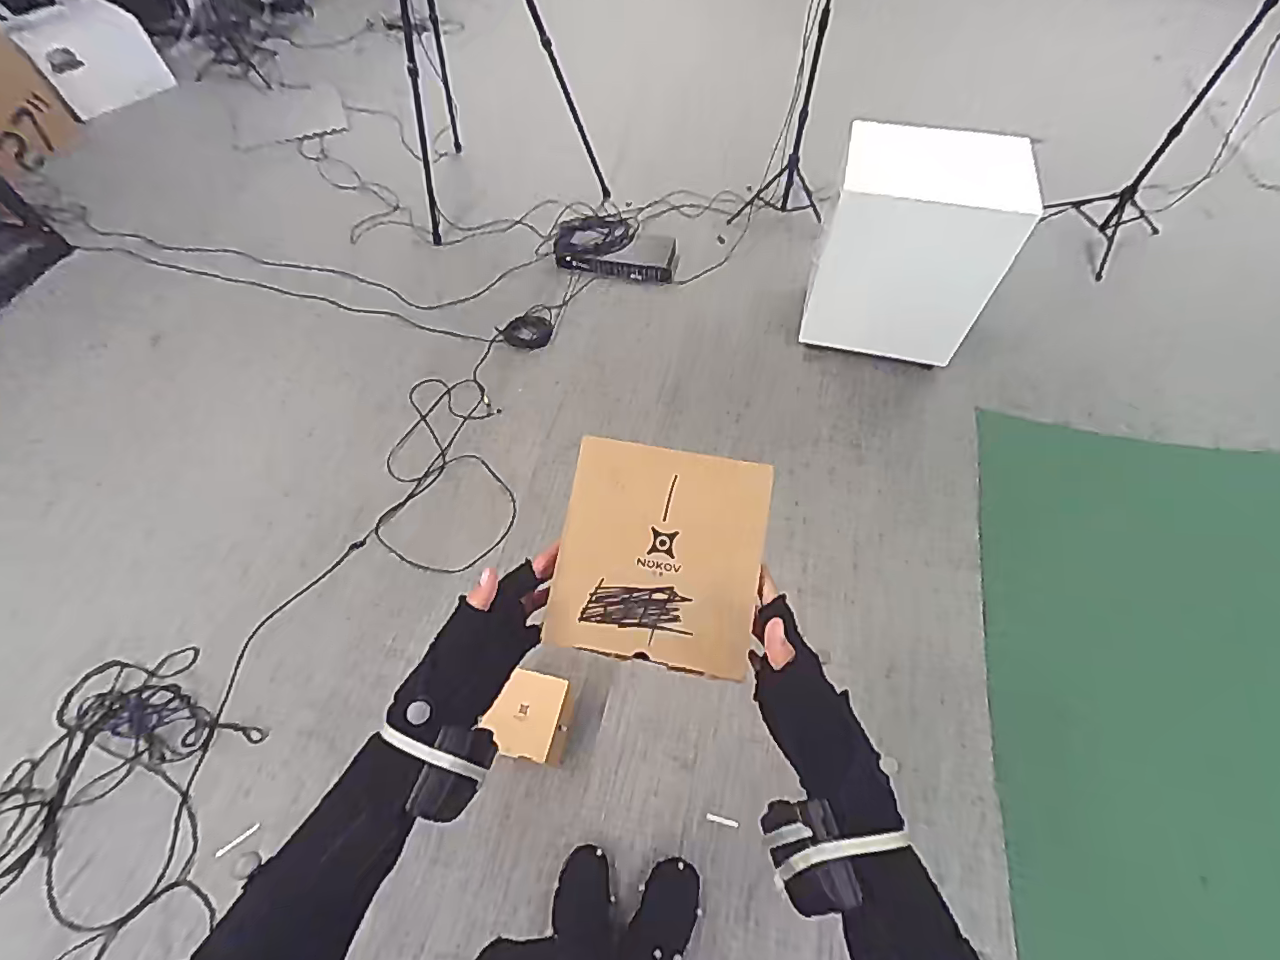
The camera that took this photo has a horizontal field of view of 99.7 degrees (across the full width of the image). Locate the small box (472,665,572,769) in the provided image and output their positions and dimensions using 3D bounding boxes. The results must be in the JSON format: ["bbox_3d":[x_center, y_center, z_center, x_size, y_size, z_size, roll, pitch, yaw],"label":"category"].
[{"bbox_3d":[-0.265,0.559,1.268,0.168,0.176,0.179,11,58,9],"label":"small box"}]
